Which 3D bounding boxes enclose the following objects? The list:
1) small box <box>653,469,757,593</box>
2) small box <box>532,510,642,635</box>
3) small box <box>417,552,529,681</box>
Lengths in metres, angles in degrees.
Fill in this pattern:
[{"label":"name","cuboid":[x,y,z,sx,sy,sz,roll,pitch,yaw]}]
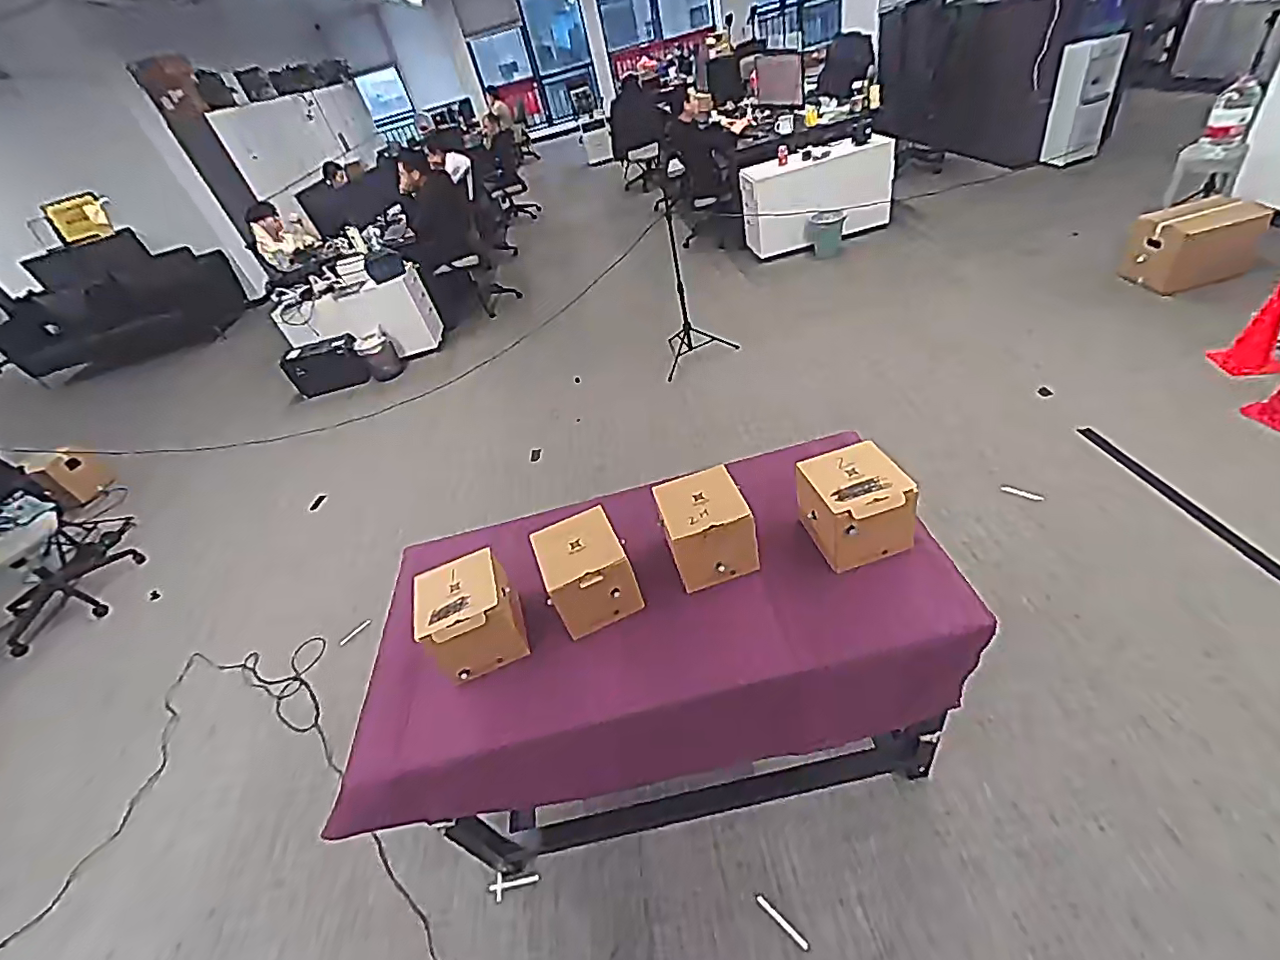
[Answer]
[{"label":"small box","cuboid":[0.139,0.109,1.160,0.168,0.176,0.179,-19,40,-1]},{"label":"small box","cuboid":[-0.109,0.201,1.143,0.168,0.176,0.179,-23,39,-8]},{"label":"small box","cuboid":[-0.344,0.288,1.121,0.168,0.176,0.179,-22,39,-7]}]
